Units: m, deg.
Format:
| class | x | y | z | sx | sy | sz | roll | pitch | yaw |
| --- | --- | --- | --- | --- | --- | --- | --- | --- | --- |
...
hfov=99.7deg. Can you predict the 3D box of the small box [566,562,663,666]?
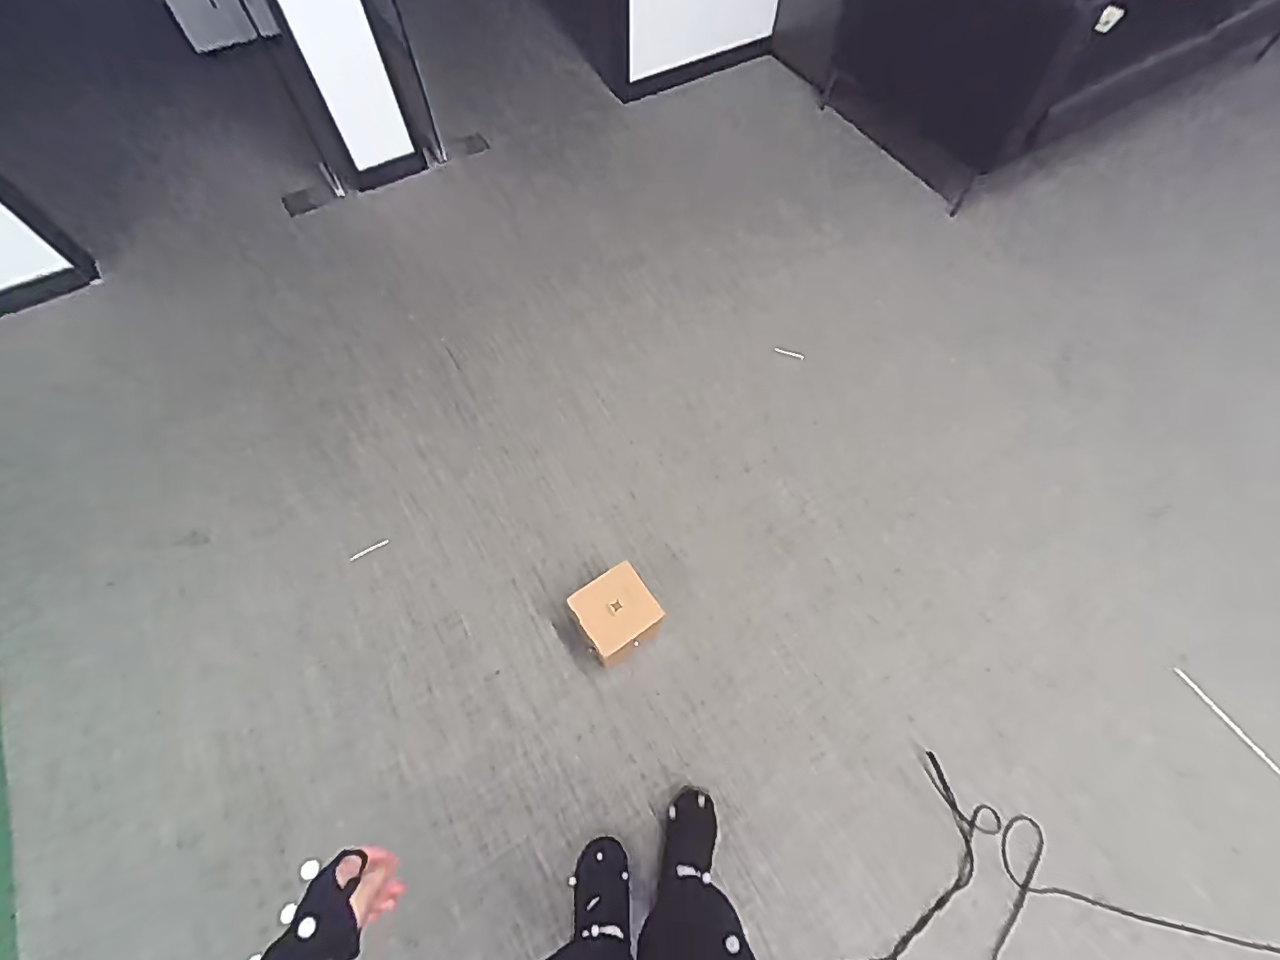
| class | x | y | z | sx | sy | sz | roll | pitch | yaw |
| --- | --- | --- | --- | --- | --- | --- | --- | --- | --- |
| small box | -0.061 | 0.335 | 1.331 | 0.179 | 0.176 | 0.168 | -31 | 69 | -16 |
